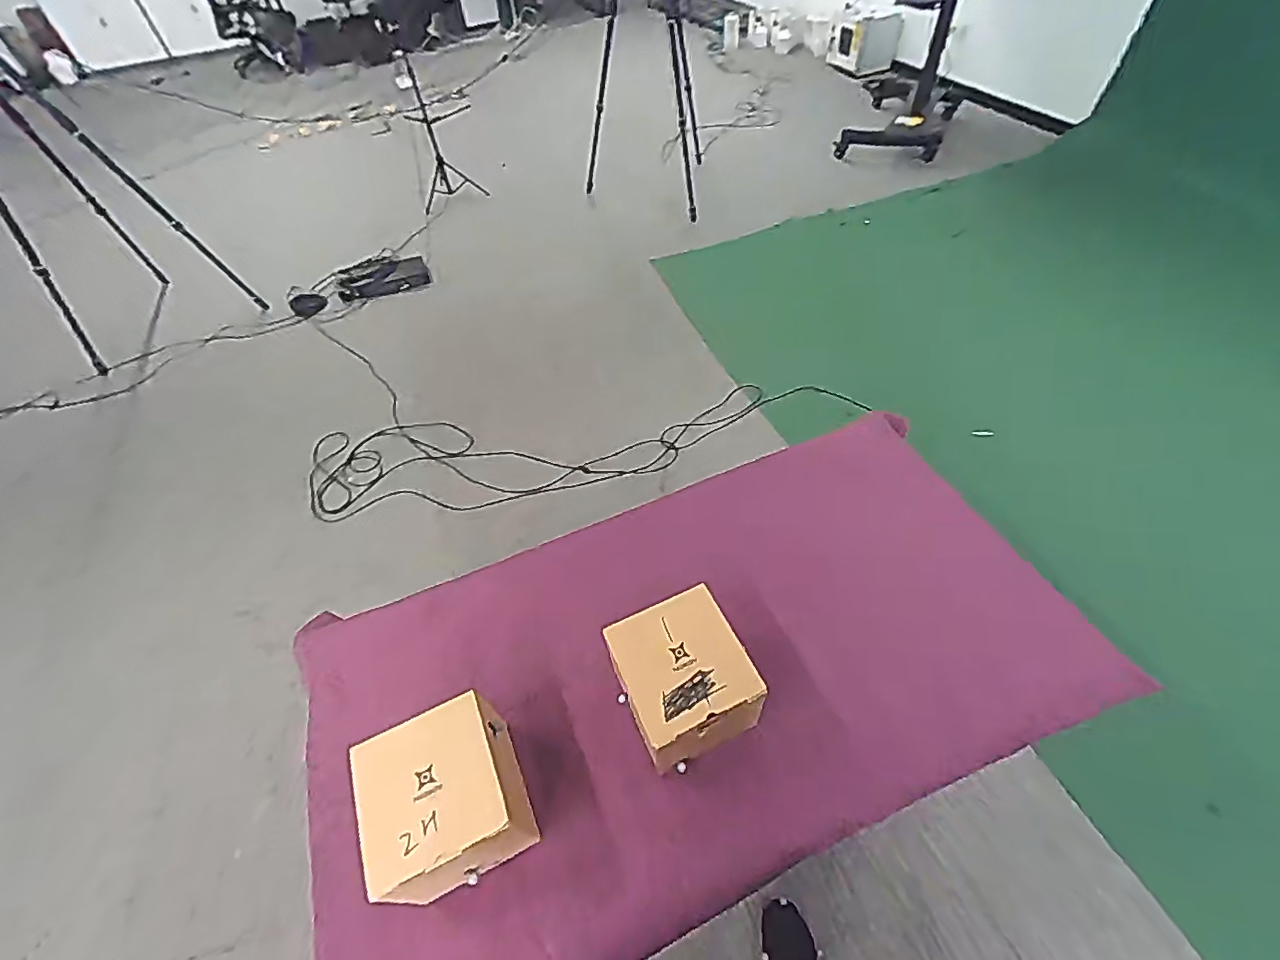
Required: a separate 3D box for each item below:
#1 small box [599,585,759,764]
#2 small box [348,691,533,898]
[{"bbox_3d":[0.055,0.292,0.794,0.168,0.176,0.179,-22,52,-12],"label":"small box"},{"bbox_3d":[-0.258,0.419,0.718,0.168,0.176,0.179,-23,53,-13],"label":"small box"}]
